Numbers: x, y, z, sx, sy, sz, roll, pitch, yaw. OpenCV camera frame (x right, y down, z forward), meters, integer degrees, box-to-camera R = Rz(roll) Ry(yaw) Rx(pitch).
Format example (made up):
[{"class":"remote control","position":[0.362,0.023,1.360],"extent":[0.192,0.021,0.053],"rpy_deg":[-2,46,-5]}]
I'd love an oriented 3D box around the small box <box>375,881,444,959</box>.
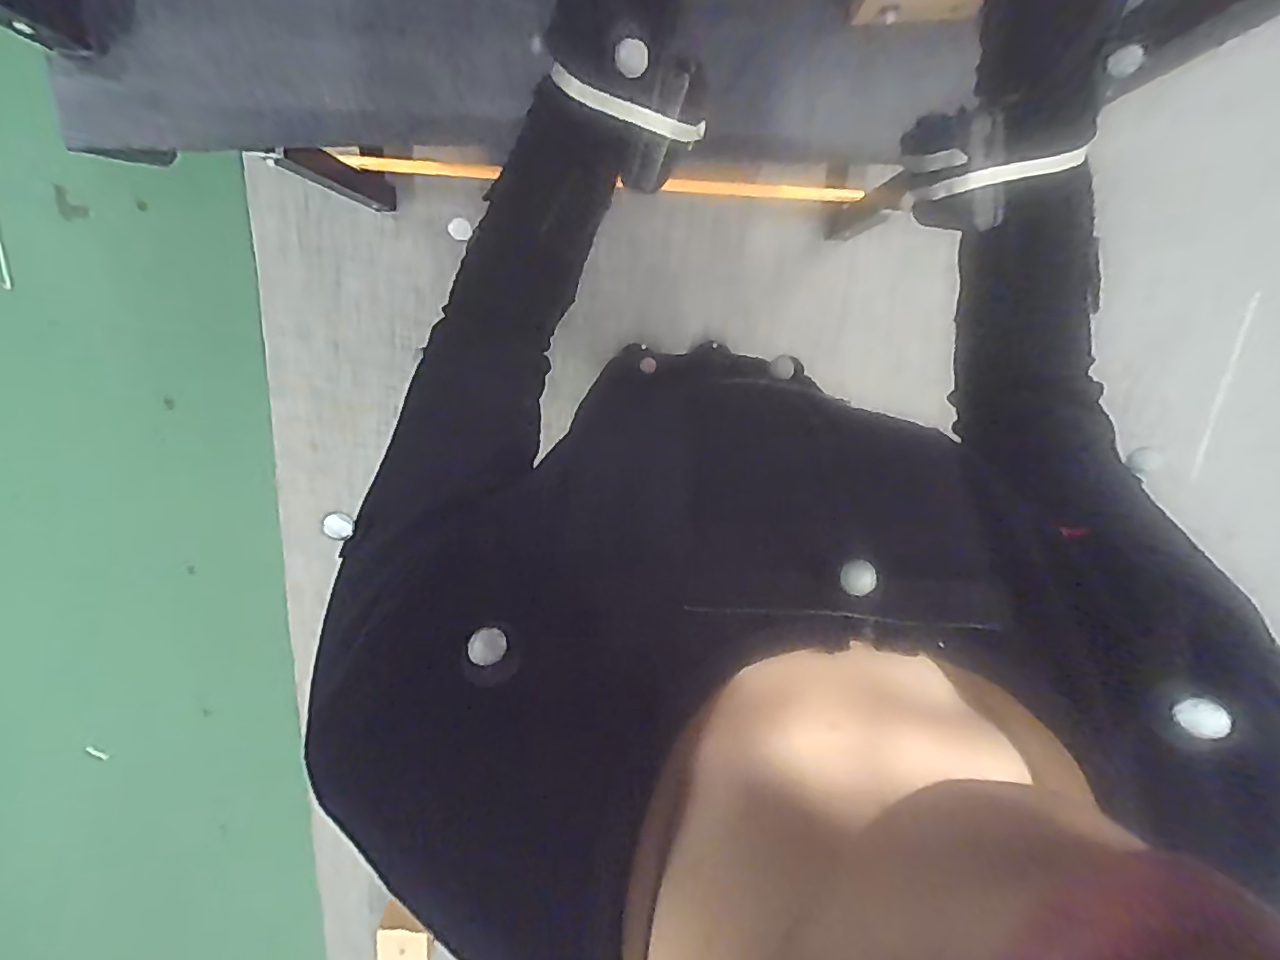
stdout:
[{"class":"small box","position":[-0.774,1.508,1.826],"extent":[0.168,0.176,0.179],"rpy_deg":[6,104,0]}]
